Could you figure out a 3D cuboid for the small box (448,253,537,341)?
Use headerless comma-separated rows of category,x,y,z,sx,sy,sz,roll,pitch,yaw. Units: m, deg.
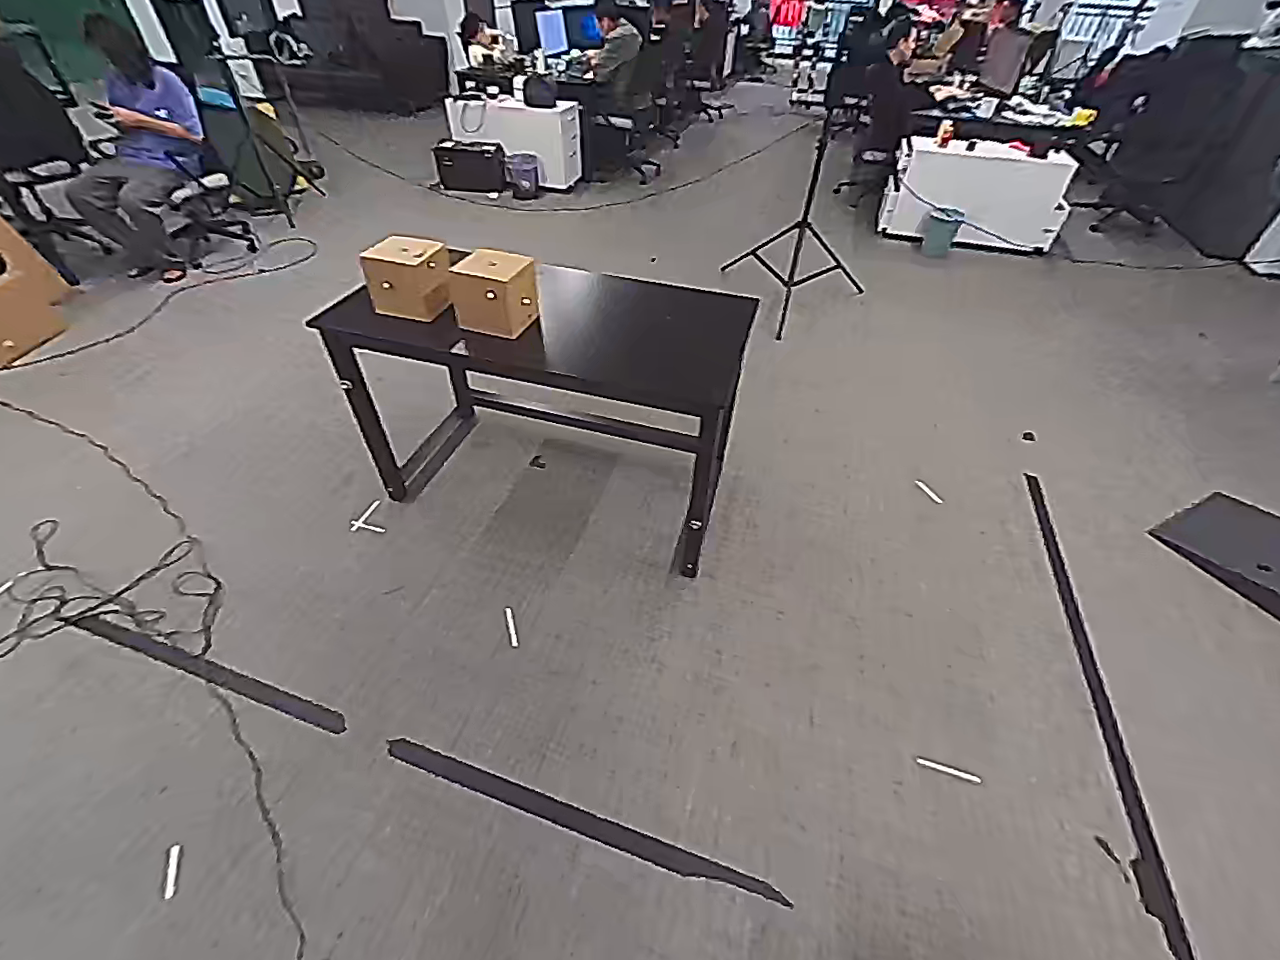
small box,-0.401,-0.508,1.510,0.179,0.176,0.168,14,44,12

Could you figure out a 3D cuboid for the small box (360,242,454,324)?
small box,-0.662,-0.568,1.564,0.179,0.176,0.168,11,45,10
